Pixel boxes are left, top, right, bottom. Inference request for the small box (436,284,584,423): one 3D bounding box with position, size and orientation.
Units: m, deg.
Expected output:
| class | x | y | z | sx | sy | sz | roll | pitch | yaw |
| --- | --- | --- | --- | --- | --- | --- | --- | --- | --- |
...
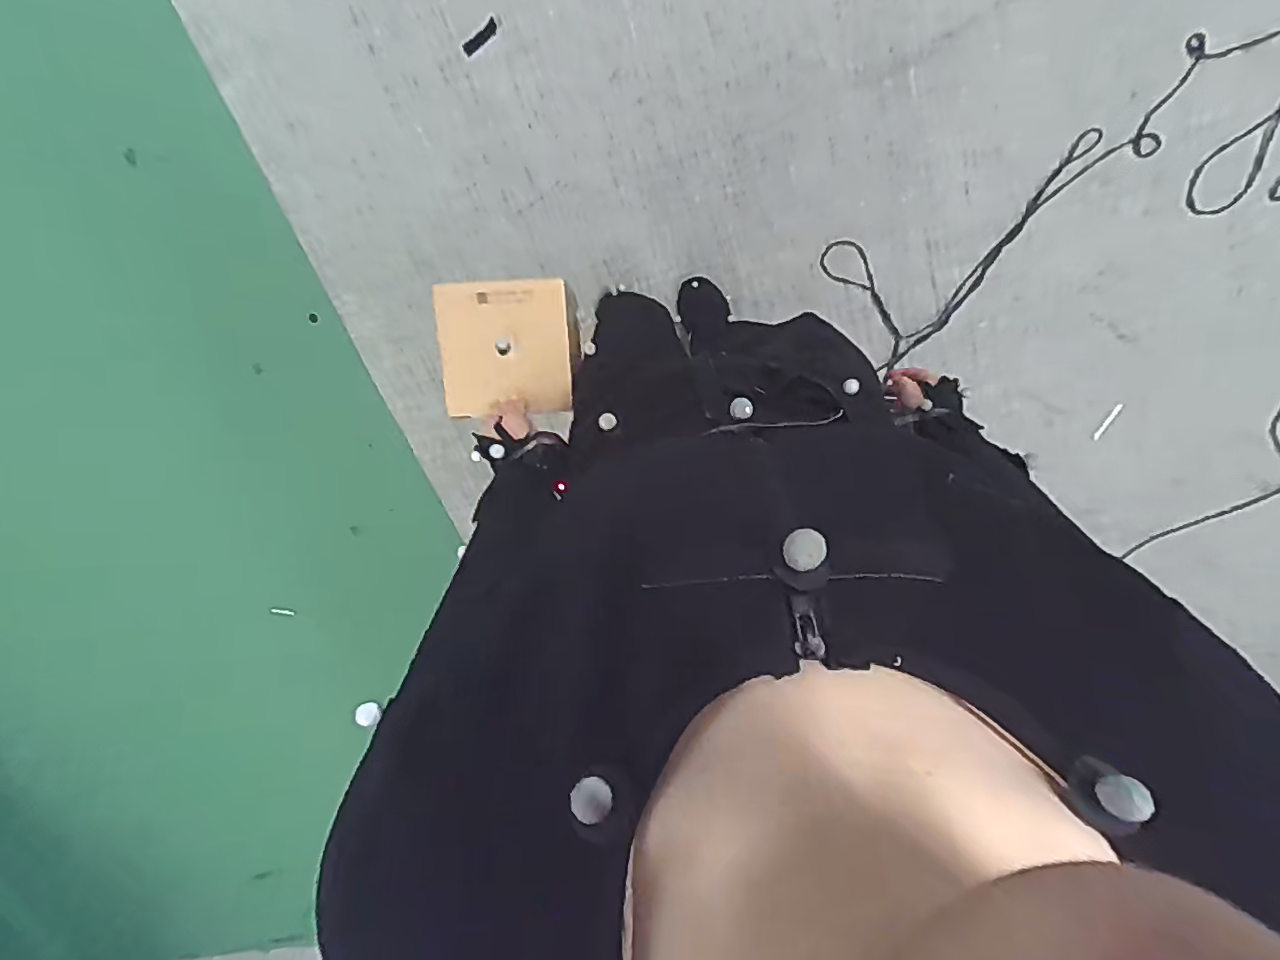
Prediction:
| class | x | y | z | sx | sy | sz | roll | pitch | yaw |
| --- | --- | --- | --- | --- | --- | --- | --- | --- | --- |
| small box | -0.173 | -0.181 | 0.766 | 0.168 | 0.179 | 0.176 | -4 | 104 | -1 |
